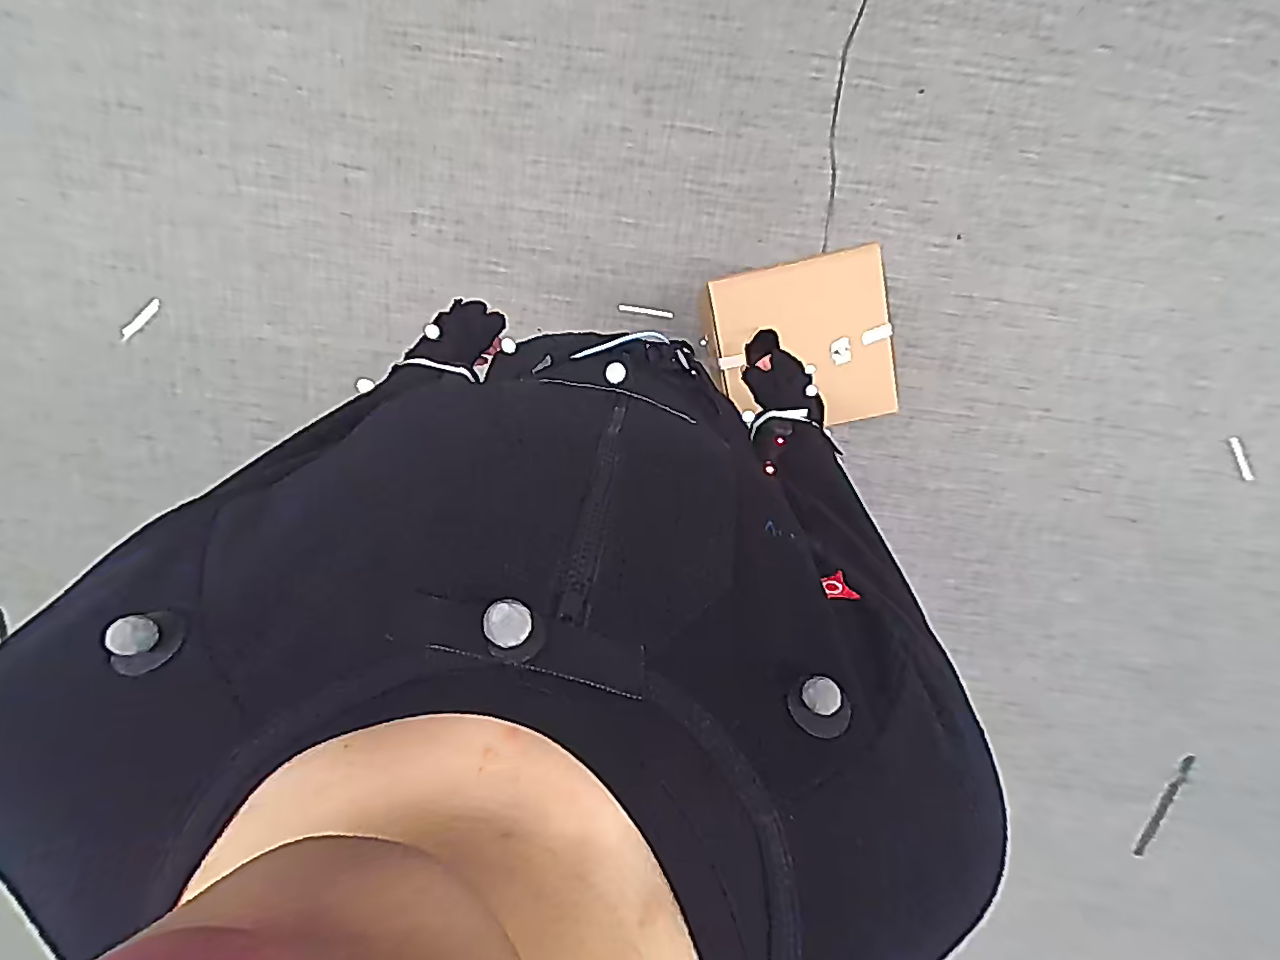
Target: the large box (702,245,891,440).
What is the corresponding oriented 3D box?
[{"bbox_3d":[0.321,-0.297,1.206,0.320,0.408,0.320,-10,103,8],"label":"large box"}]
